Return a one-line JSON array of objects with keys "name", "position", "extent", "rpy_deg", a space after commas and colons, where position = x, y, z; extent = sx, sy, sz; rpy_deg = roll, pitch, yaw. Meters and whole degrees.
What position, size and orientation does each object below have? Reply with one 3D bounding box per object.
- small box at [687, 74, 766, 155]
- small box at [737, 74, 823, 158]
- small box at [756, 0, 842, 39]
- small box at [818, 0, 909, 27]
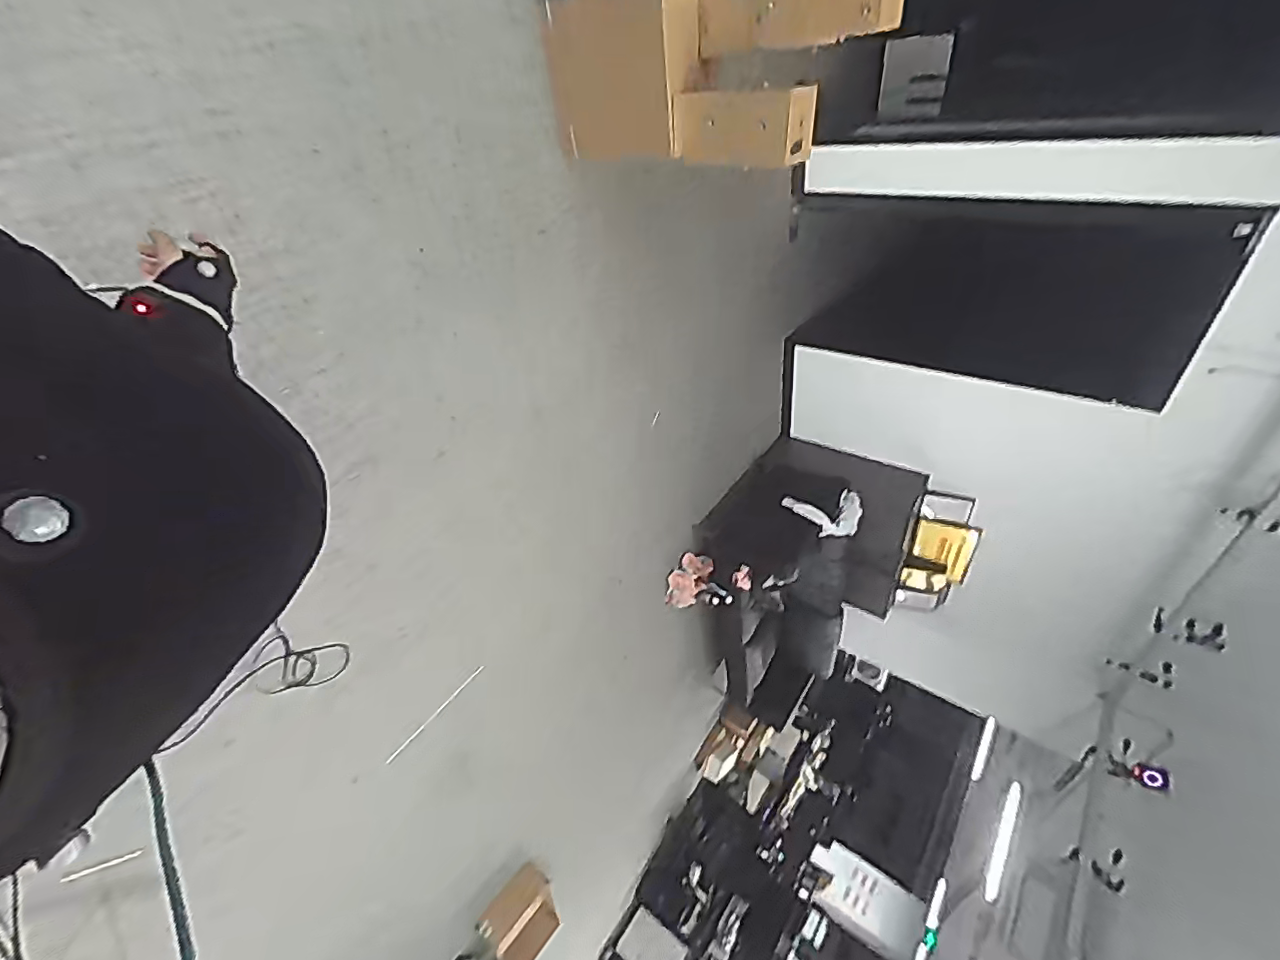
[{"name": "small box", "position": [0.249, -1.053, 1.565], "extent": [0.168, 0.176, 0.179], "rpy_deg": [-38, 137, -34]}, {"name": "small box", "position": [0.378, -0.997, 1.480], "extent": [0.168, 0.176, 0.179], "rpy_deg": [-39, 138, -36]}, {"name": "small box", "position": [0.416, -1.252, 1.389], "extent": [0.179, 0.176, 0.168], "rpy_deg": [-38, 135, -38]}, {"name": "small box", "position": [0.539, -1.211, 1.289], "extent": [0.168, 0.176, 0.179], "rpy_deg": [-42, 139, -34]}]
